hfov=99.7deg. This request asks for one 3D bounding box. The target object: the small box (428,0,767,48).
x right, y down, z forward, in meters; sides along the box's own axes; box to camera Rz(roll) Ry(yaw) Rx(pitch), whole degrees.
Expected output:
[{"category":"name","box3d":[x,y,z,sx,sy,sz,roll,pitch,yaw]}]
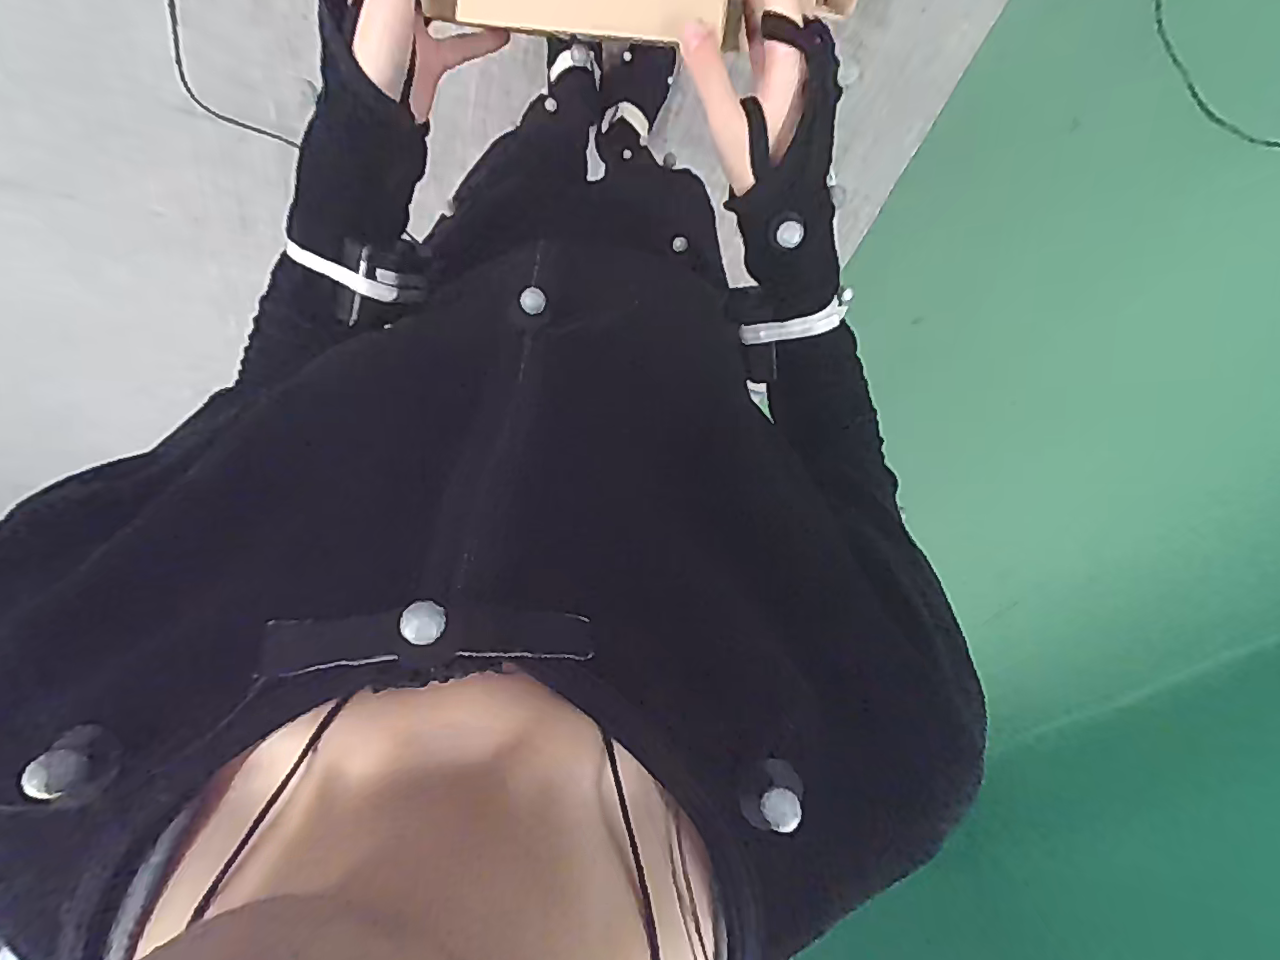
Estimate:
[{"category":"small box","box3d":[-0.011,-0.356,0.303,0.179,0.176,0.168,13,129,9]}]
